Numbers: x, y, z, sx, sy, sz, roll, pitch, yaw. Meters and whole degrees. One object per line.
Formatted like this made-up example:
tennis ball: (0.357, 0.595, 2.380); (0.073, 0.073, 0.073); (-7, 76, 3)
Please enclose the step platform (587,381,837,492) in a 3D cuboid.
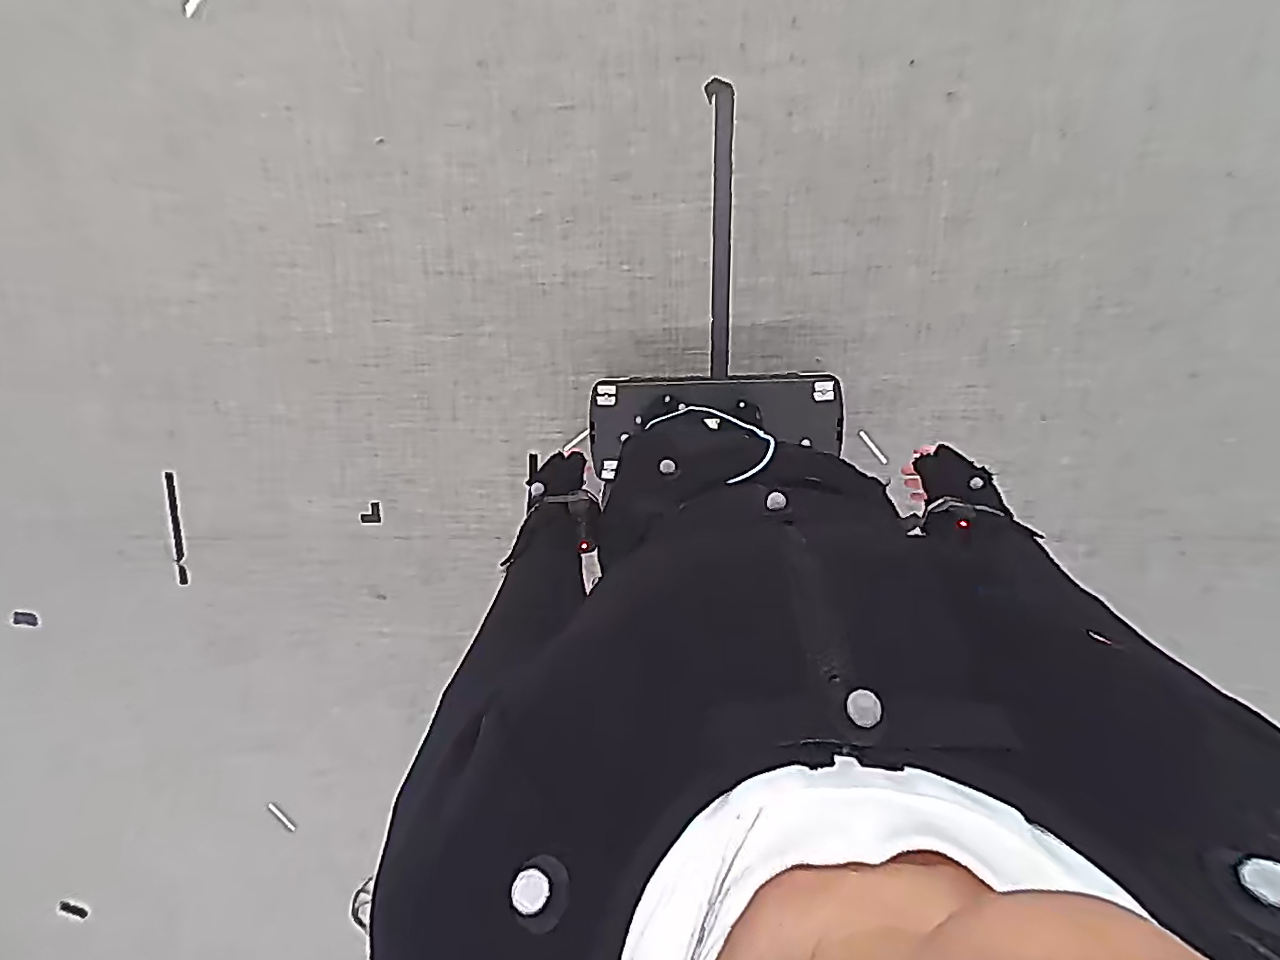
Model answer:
step platform: (0.192, -0.121, 1.521); (0.684, 0.204, 0.286); (-1, 101, 6)
